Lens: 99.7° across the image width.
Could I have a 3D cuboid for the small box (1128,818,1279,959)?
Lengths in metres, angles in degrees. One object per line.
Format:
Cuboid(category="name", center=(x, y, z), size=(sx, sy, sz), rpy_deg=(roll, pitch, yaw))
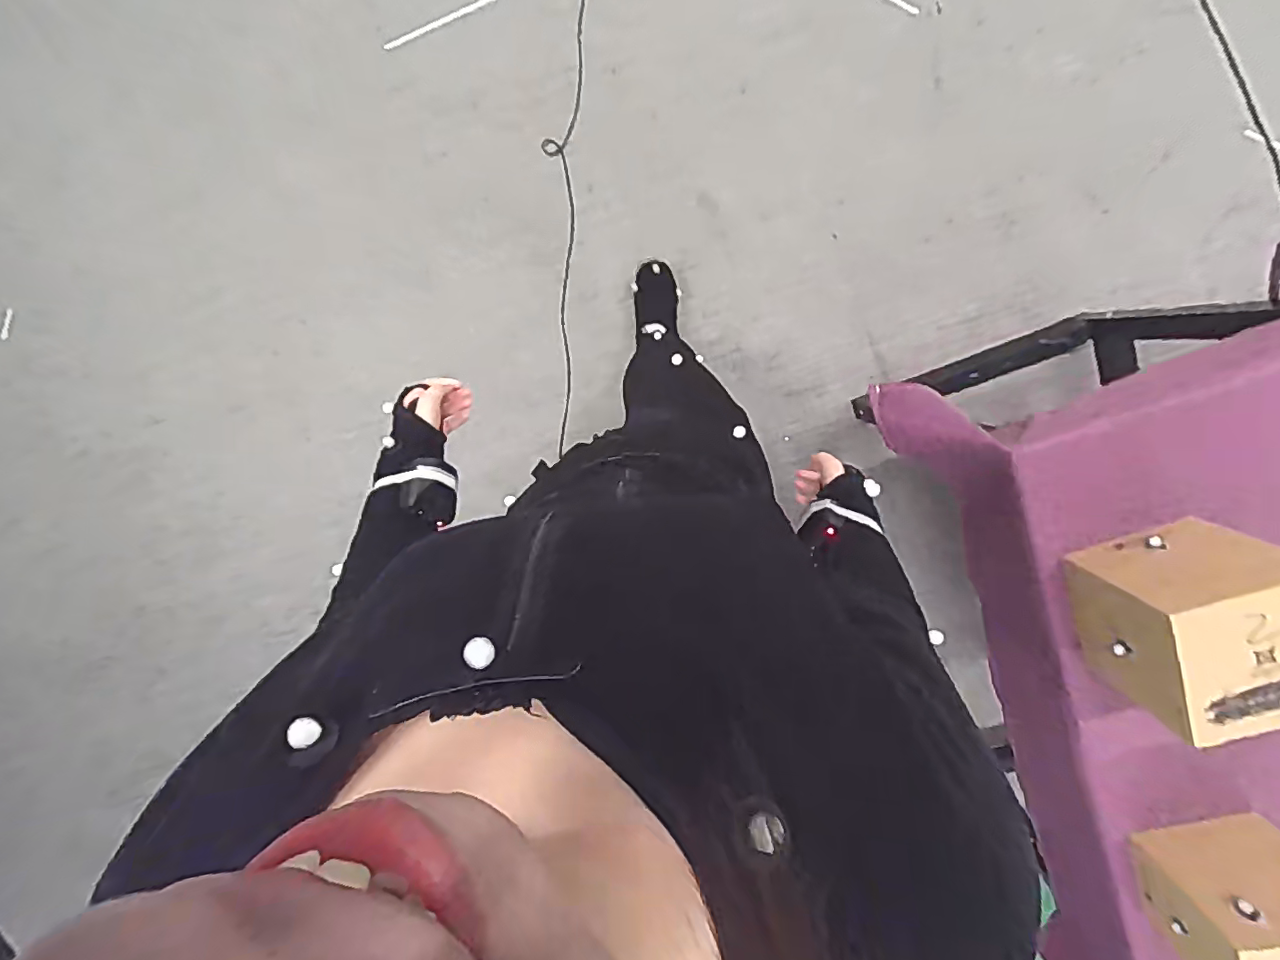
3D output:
Cuboid(category="small box", center=(0.836, 0.619, 0.758), size=(0.179, 0.176, 0.168), rpy_deg=(-17, 103, 7))
